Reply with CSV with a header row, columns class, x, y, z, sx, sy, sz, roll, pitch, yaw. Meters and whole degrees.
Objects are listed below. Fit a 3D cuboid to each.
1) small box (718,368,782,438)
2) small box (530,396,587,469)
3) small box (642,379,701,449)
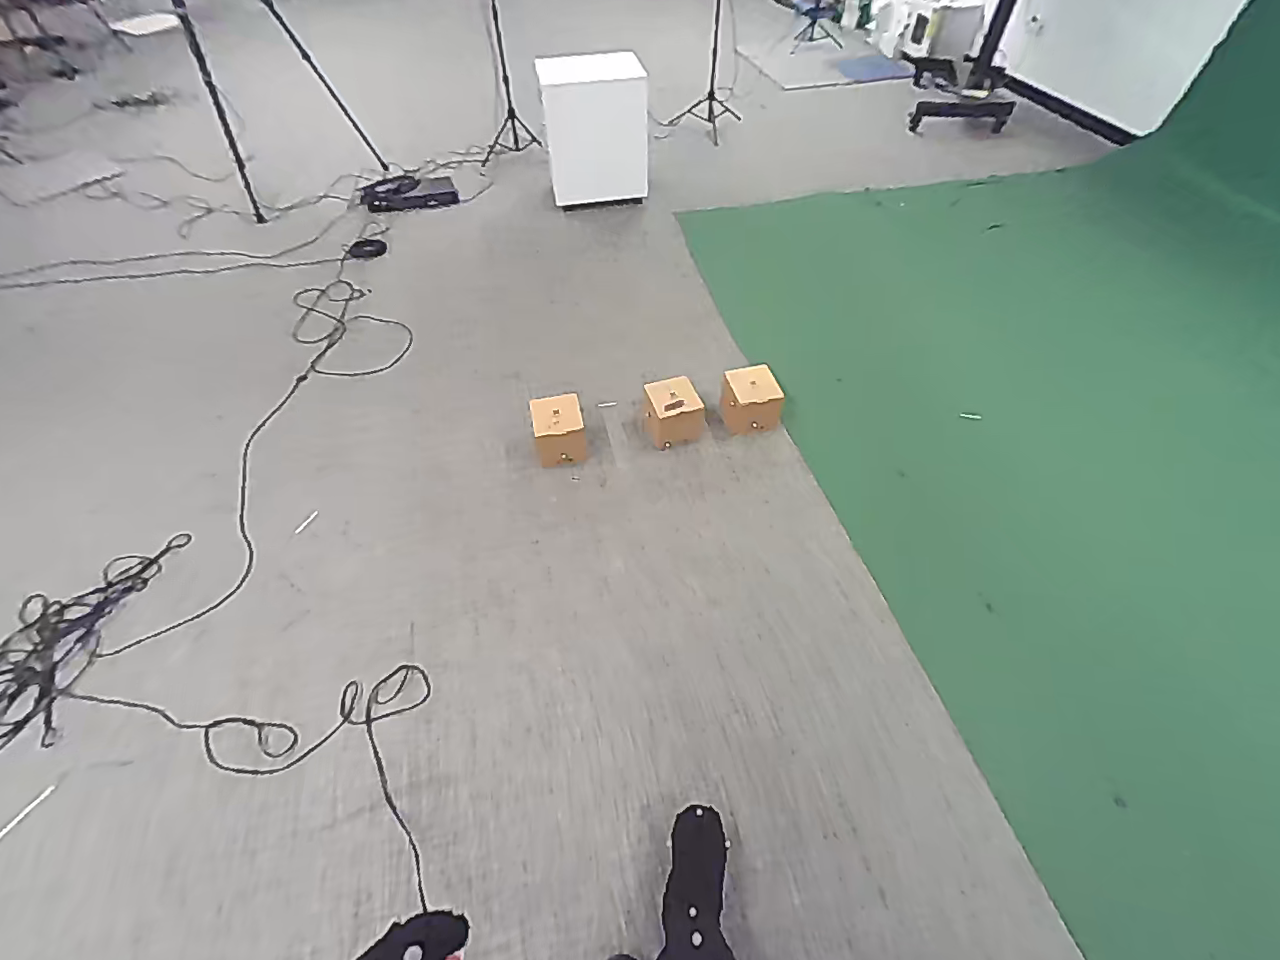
class,x,y,z,sx,sy,sz,roll,pitch,yaw
small box,0.395,-0.279,1.977,0.168,0.176,0.179,-11,53,-8
small box,-0.283,-0.163,1.878,0.168,0.176,0.179,-11,53,-7
small box,0.110,-0.230,1.935,0.168,0.176,0.179,-14,52,-11
